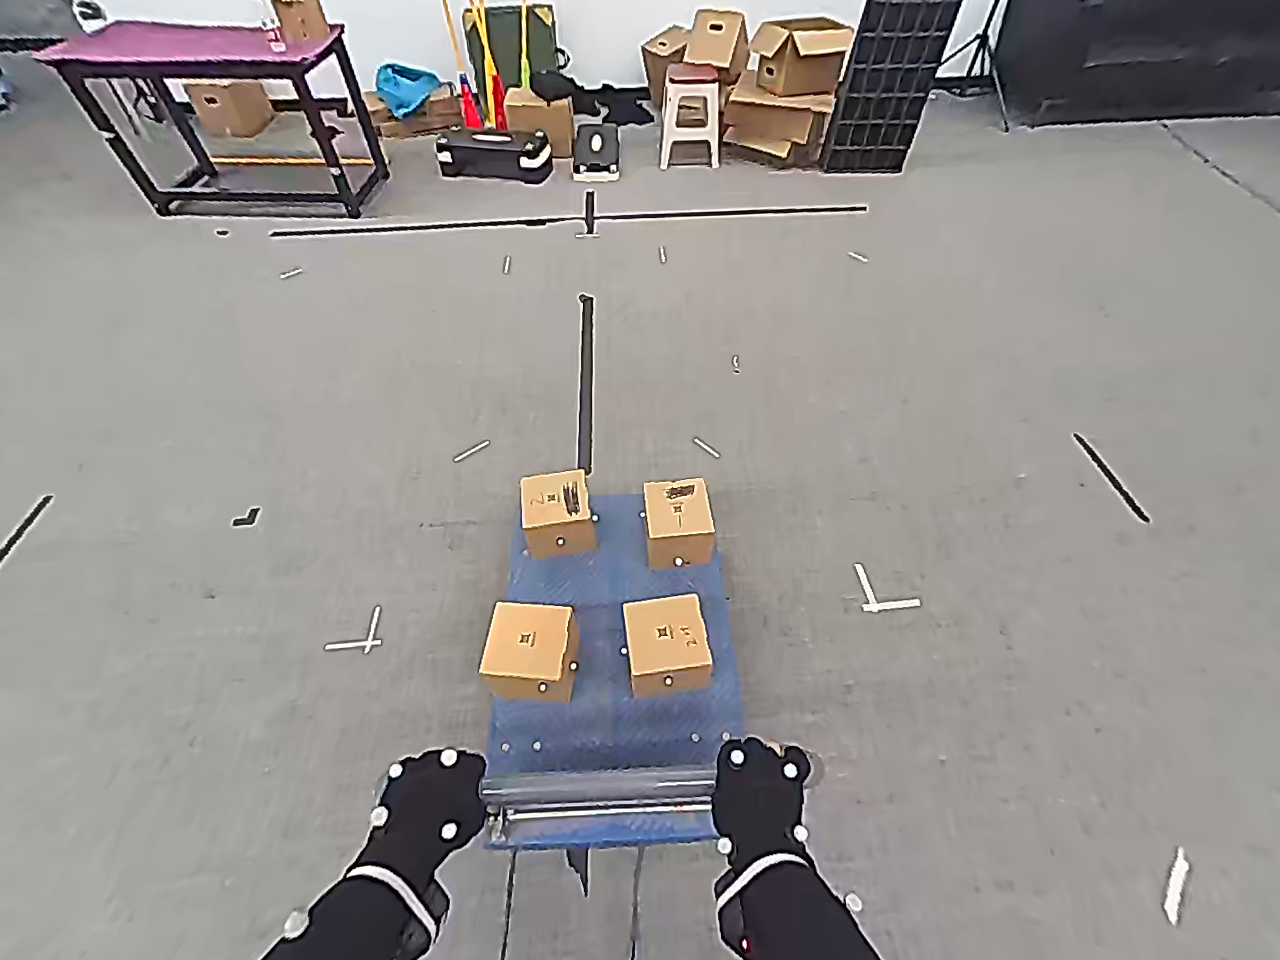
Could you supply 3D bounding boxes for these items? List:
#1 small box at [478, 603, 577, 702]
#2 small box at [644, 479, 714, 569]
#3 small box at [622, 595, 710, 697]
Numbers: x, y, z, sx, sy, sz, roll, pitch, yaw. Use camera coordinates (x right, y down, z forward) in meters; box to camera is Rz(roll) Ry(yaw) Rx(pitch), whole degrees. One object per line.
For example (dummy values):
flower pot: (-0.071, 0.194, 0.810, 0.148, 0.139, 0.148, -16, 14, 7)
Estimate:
small box: (-0.247, 0.397, 1.237, 0.179, 0.176, 0.168, 4, 51, 2)
small box: (0.097, 0.120, 1.449, 0.168, 0.176, 0.179, -5, 53, -2)
small box: (0.057, 0.385, 1.241, 0.179, 0.176, 0.168, -7, 52, -4)
